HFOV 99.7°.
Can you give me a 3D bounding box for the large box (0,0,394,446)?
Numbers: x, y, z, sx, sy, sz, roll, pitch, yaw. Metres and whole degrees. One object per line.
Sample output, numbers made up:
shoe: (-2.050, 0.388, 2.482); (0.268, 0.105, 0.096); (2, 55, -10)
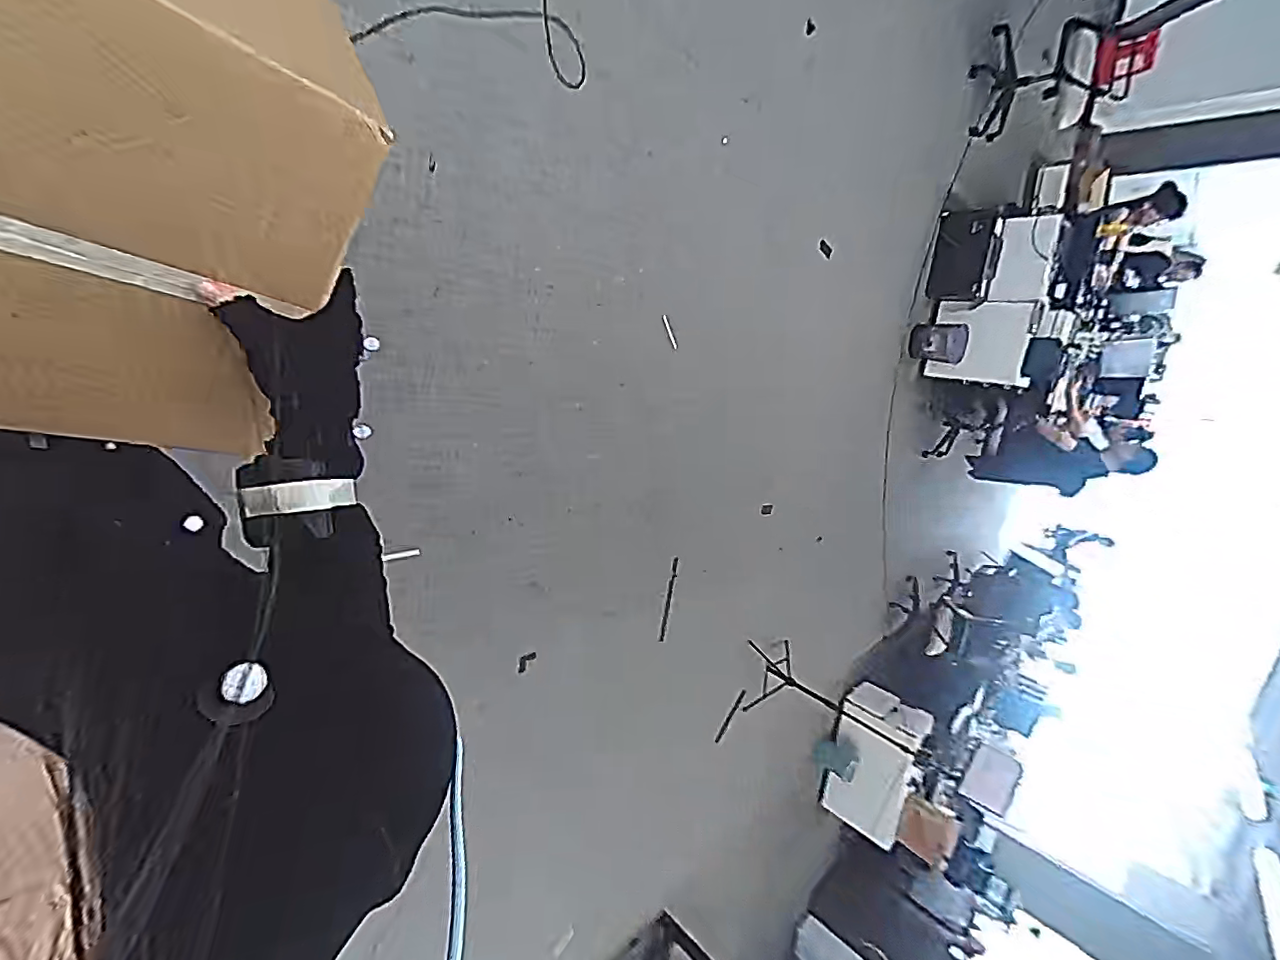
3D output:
large box: (-0.445, -0.257, 0.346); (0.408, 0.320, 0.320); (7, 136, -47)
